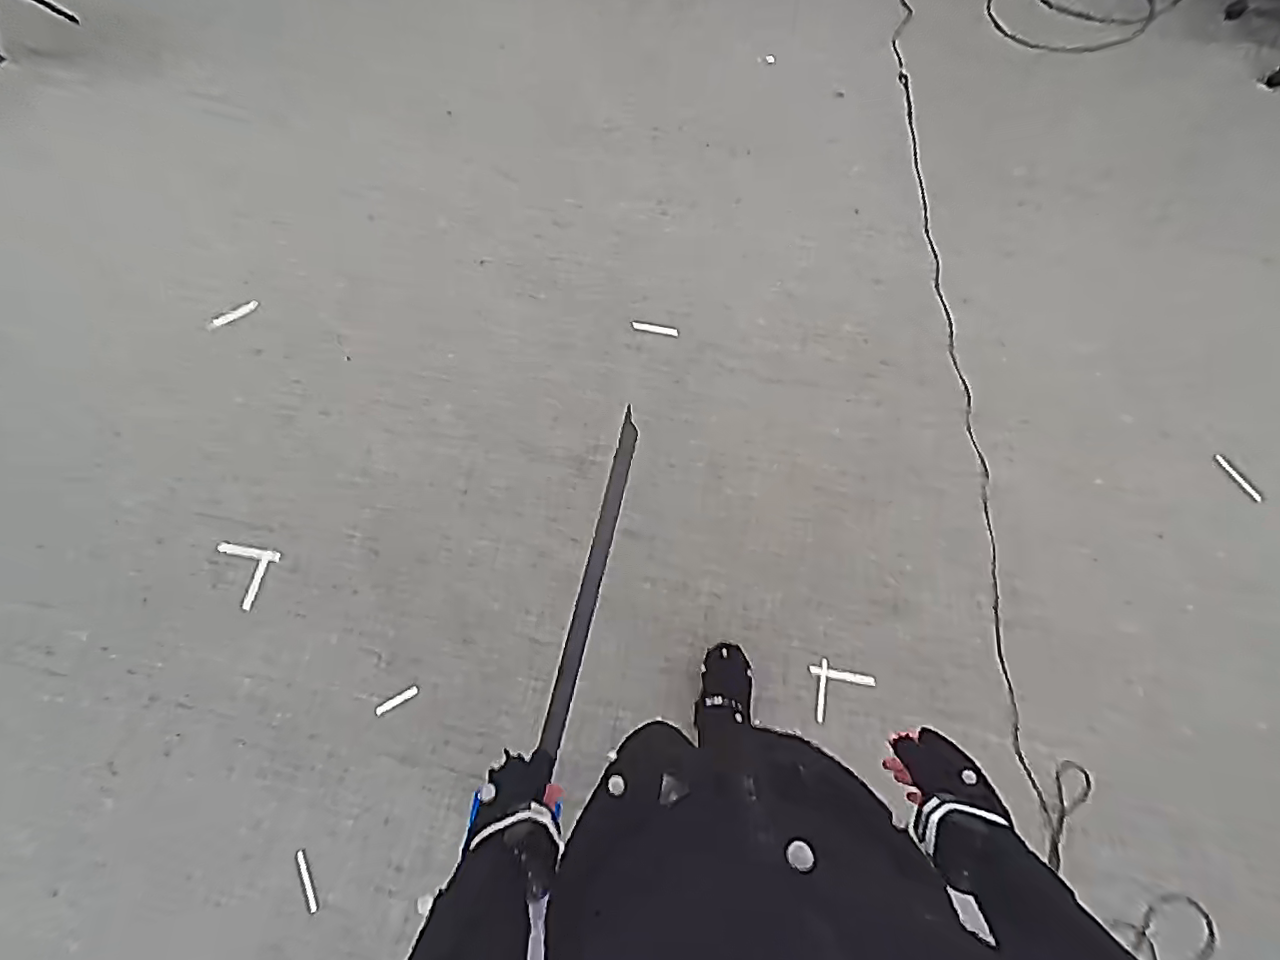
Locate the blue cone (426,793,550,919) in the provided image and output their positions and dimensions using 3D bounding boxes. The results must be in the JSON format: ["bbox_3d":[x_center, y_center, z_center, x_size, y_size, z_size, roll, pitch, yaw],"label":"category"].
[{"bbox_3d":[-0.308,0.749,1.040,0.192,0.380,0.193,7,70,6],"label":"blue cone"}]
